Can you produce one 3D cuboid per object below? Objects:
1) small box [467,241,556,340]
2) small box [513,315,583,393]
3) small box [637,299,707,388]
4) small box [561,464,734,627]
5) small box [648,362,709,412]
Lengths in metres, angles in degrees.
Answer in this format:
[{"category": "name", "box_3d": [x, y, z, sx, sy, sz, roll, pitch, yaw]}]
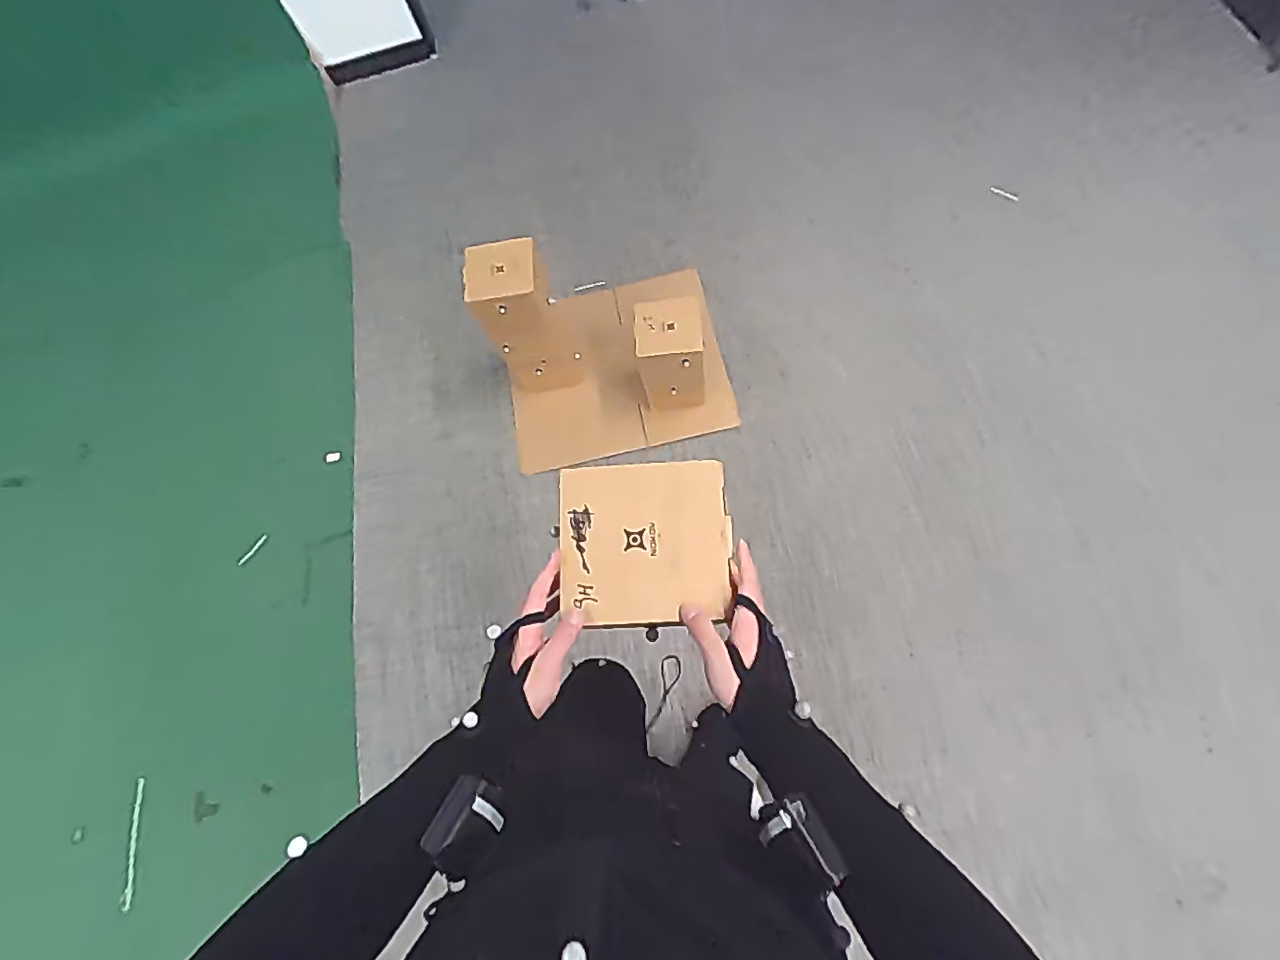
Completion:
[{"category": "small box", "box_3d": [-0.328, -0.482, 1.400, 0.179, 0.176, 0.168, -7, 72, 6]}, {"category": "small box", "box_3d": [-0.288, -0.393, 1.713, 0.179, 0.176, 0.168, -9, 71, 5]}, {"category": "small box", "box_3d": [0.091, -0.367, 1.475, 0.179, 0.176, 0.168, -4, 71, 8]}, {"category": "small box", "box_3d": [0.009, 0.085, 0.635, 0.179, 0.176, 0.168, -3, 73, 3]}, {"category": "small box", "box_3d": [0.113, -0.323, 1.633, 0.179, 0.176, 0.168, -8, 70, 6]}]
